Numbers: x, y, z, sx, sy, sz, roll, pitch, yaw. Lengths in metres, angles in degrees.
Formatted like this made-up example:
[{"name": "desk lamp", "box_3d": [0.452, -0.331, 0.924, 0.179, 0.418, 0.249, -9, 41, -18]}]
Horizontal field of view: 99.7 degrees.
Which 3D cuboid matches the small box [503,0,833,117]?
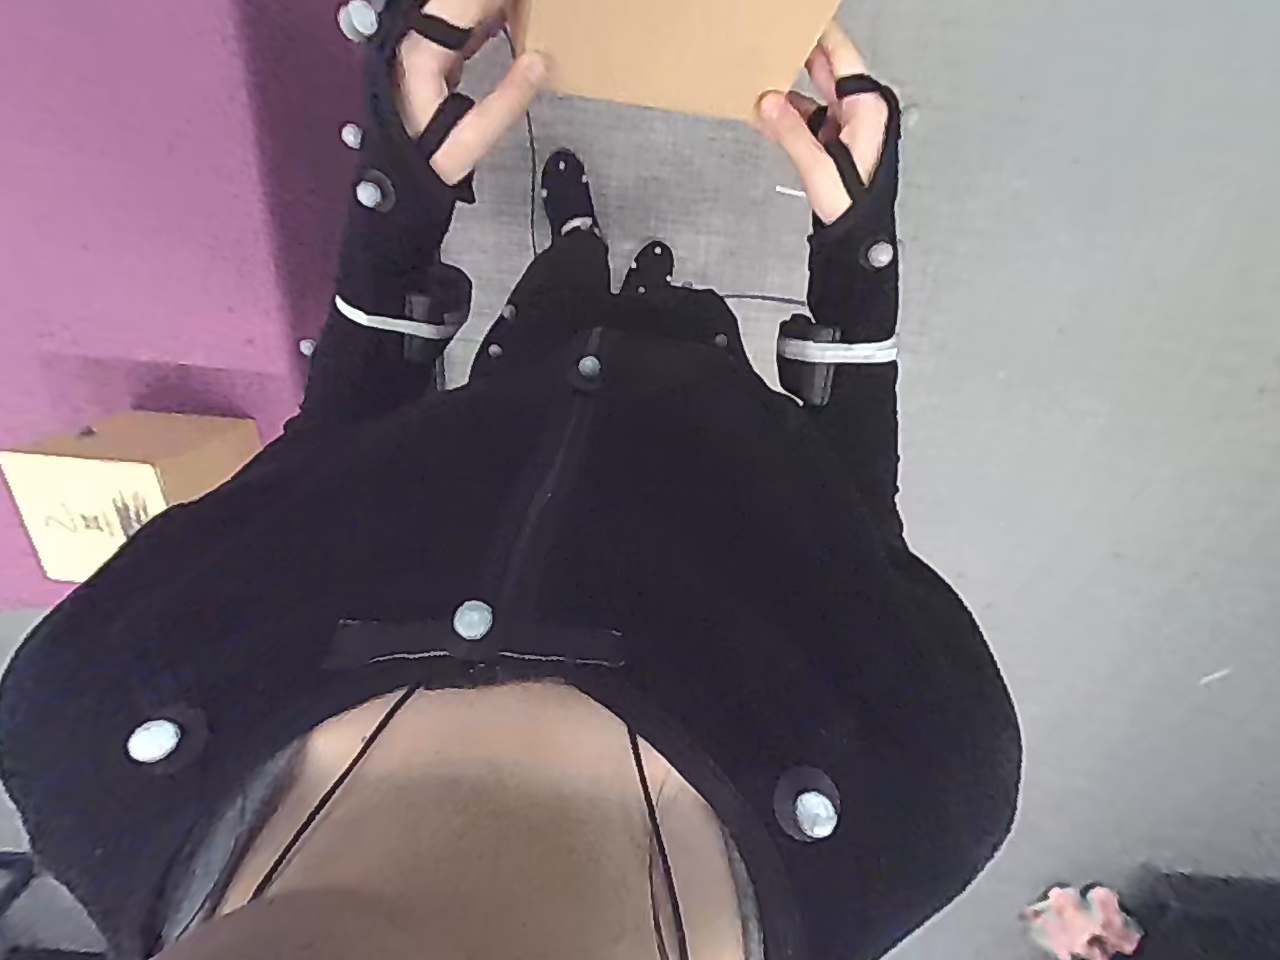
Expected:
[{"name": "small box", "box_3d": [0.018, -0.333, 0.267, 0.168, 0.179, 0.176, -6, 74, -21]}]
